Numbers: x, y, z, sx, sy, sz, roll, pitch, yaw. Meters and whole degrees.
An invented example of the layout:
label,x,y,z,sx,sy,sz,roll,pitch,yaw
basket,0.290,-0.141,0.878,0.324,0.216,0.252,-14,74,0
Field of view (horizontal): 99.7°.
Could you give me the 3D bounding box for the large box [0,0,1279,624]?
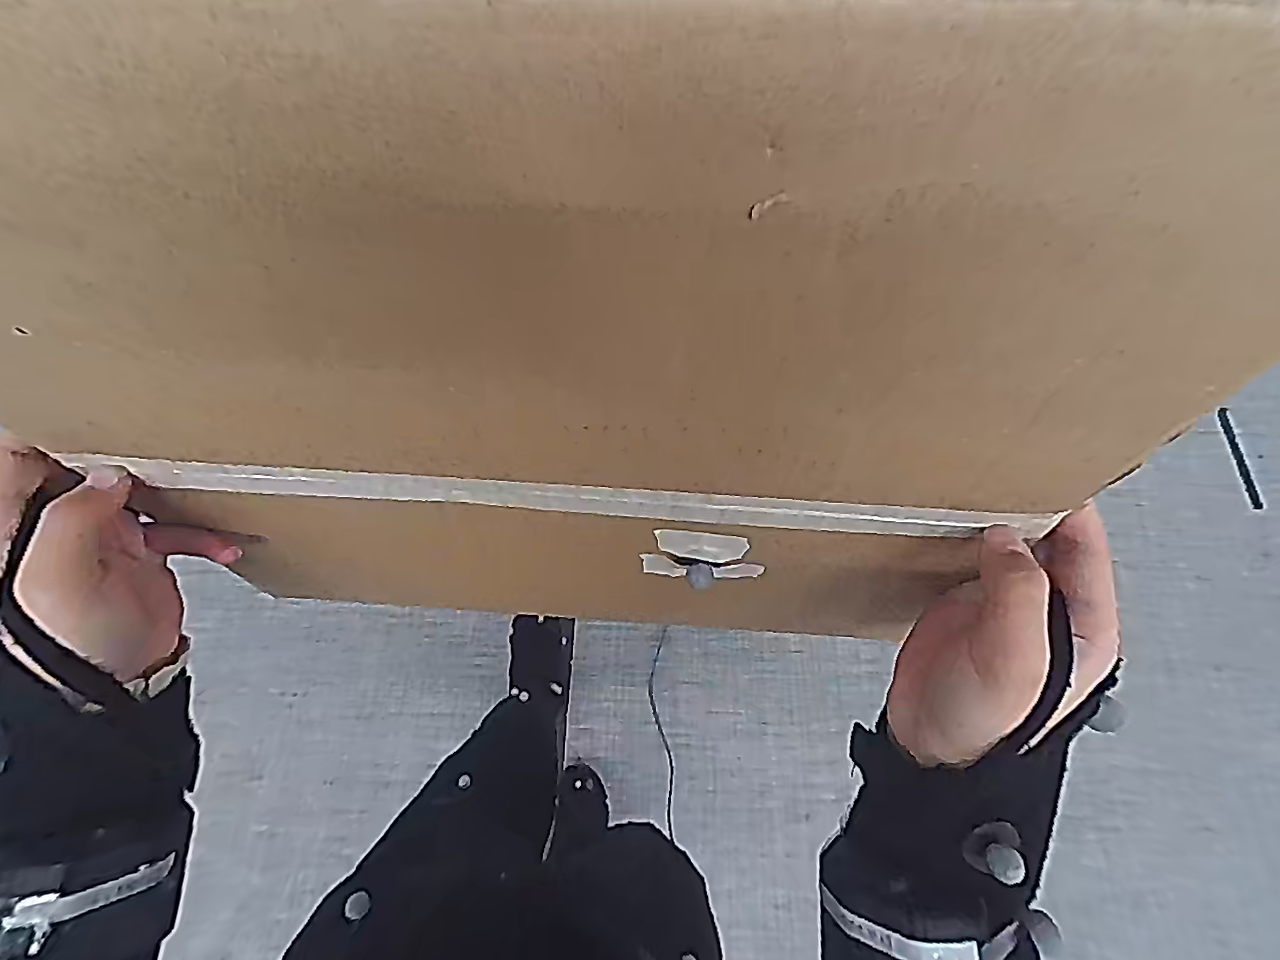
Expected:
label,x,y,z,sx,sy,sz,roll,pitch,yaw
large box,-0.030,-0.124,0.312,0.408,0.320,0.320,3,58,2
